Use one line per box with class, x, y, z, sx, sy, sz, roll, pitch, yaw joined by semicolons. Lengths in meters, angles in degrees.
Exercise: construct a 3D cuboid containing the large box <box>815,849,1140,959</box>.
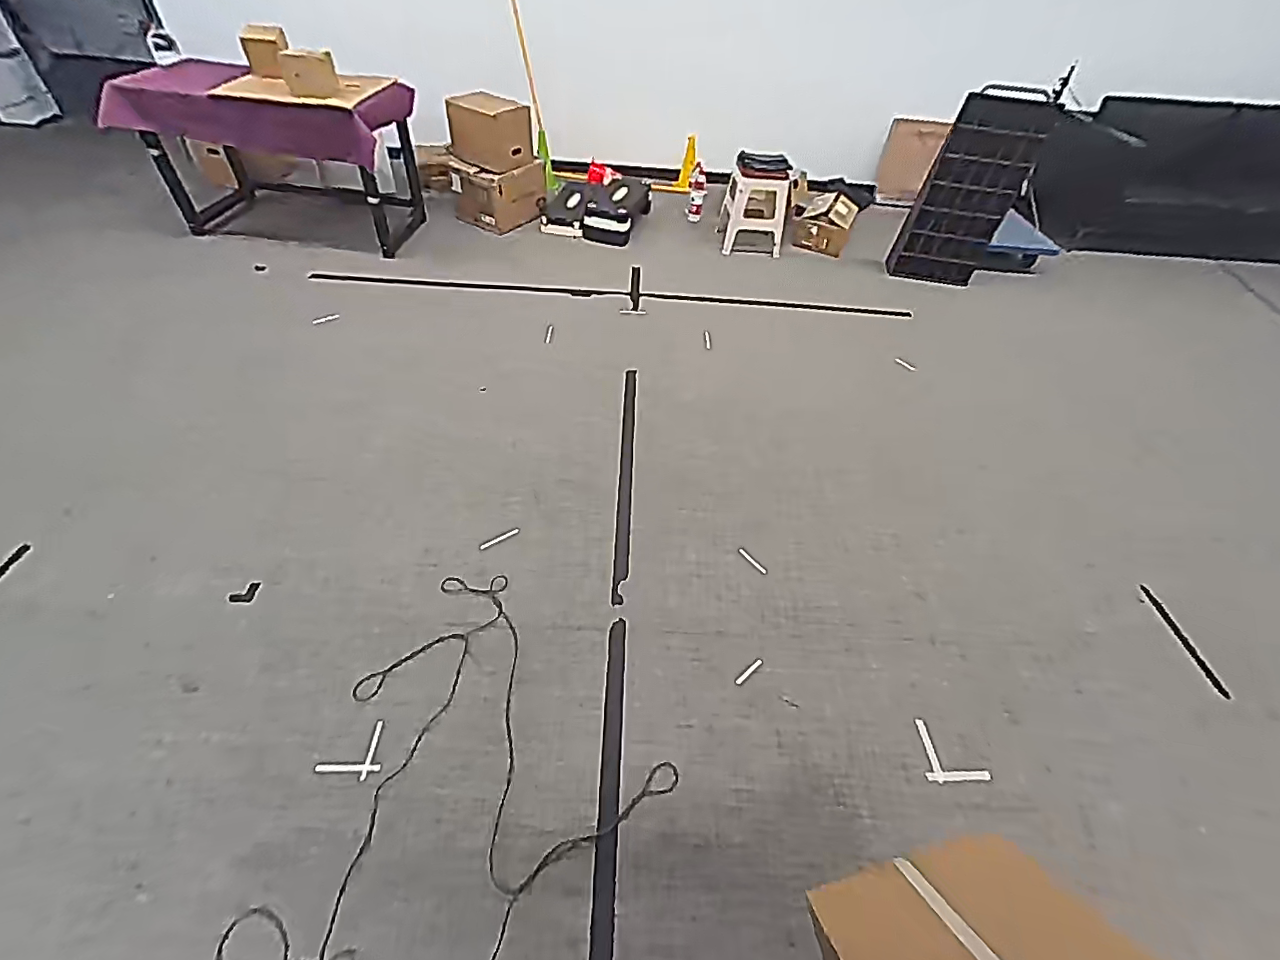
large box;0.455;0.728;0.618;0.320;0.408;0.320;-14;85;-4
